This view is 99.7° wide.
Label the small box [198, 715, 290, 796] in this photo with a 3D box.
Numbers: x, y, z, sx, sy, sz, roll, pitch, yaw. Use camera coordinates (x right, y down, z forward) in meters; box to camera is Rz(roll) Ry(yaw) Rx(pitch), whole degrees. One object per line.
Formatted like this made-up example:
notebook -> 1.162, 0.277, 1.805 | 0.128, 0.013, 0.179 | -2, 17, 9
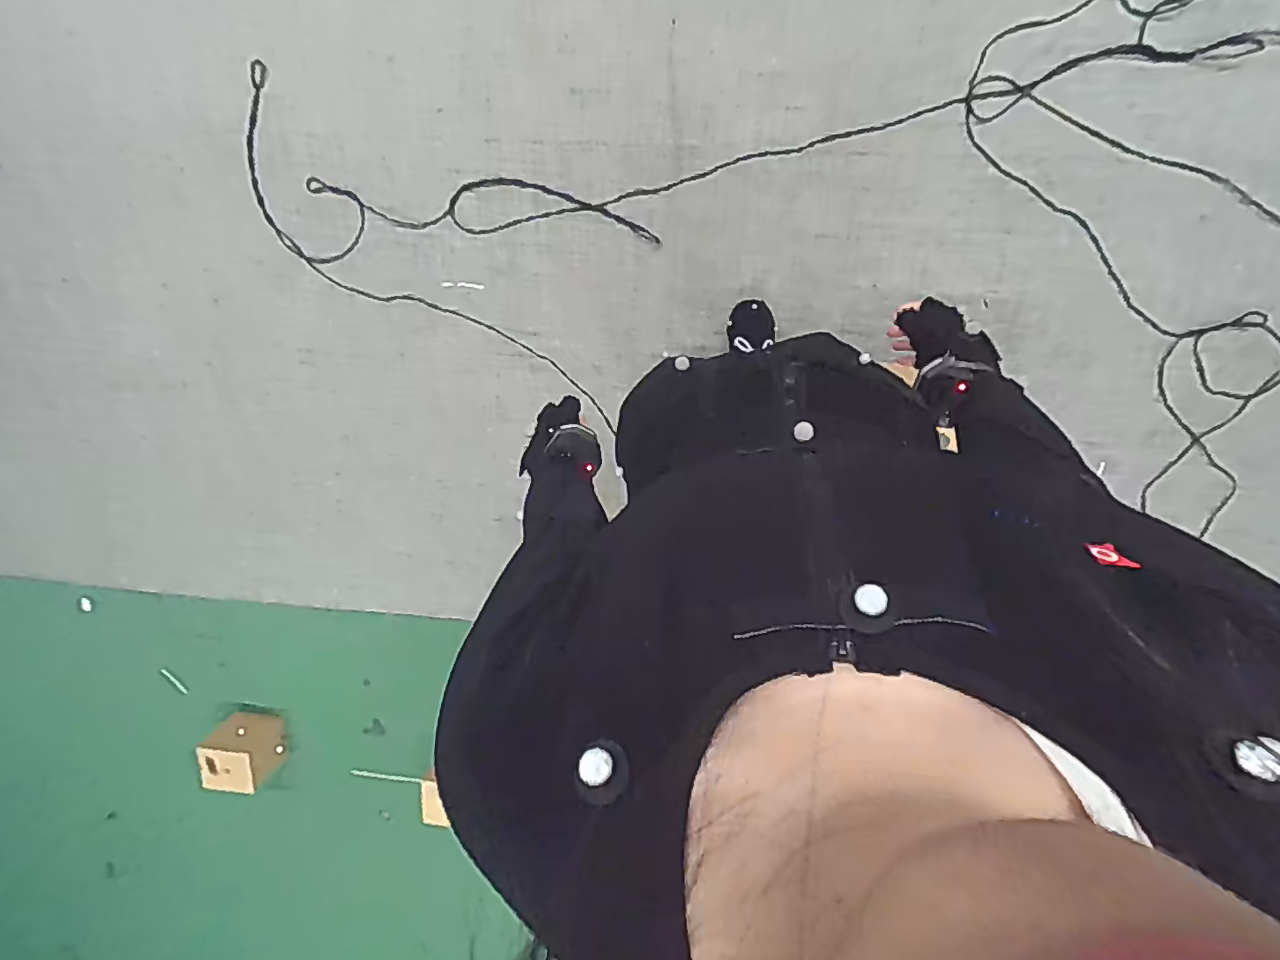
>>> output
small box -> -1.317, 0.915, 1.808 | 0.179, 0.176, 0.168 | 6, 107, 3
